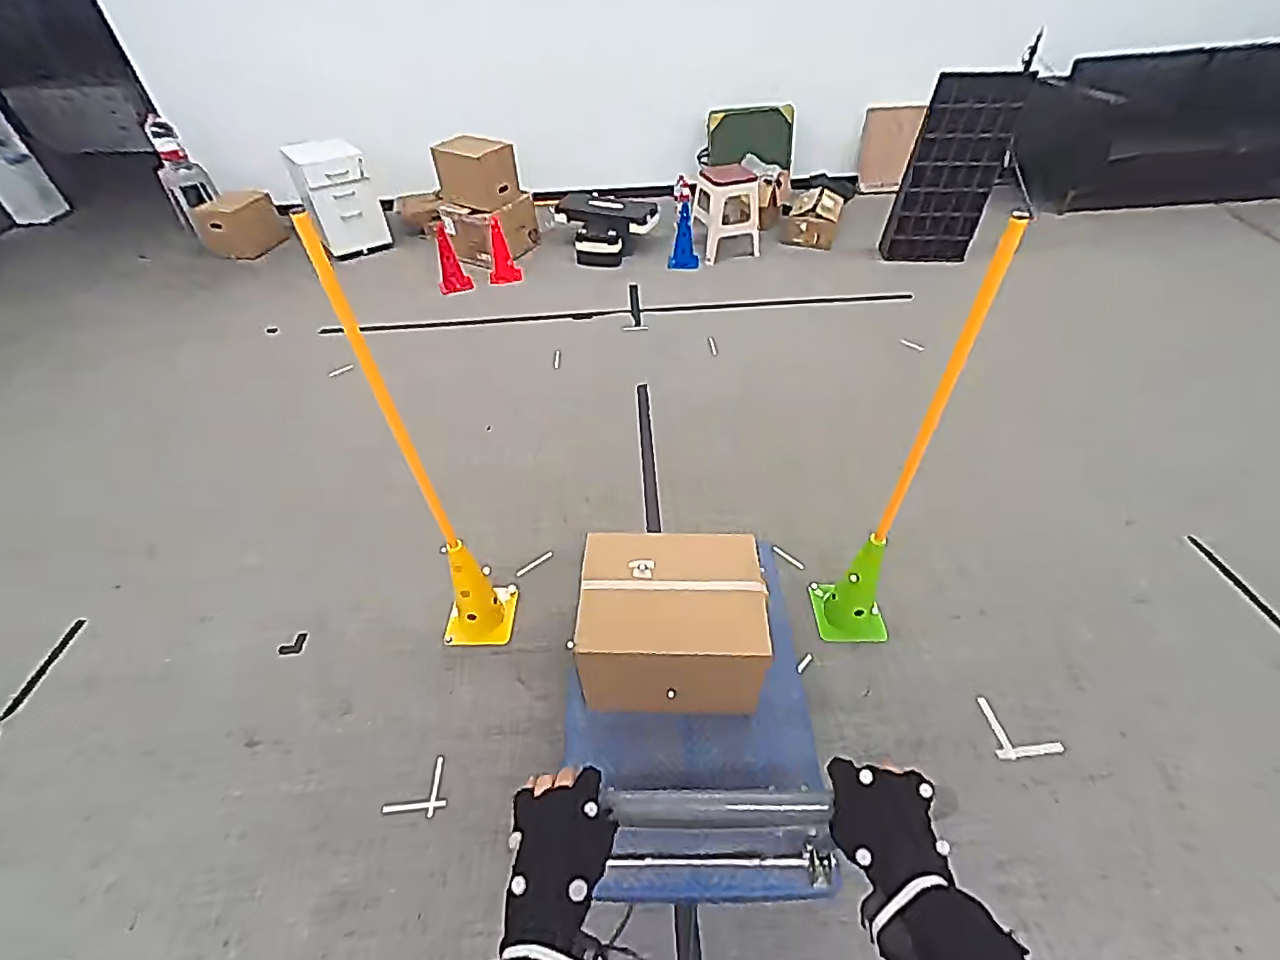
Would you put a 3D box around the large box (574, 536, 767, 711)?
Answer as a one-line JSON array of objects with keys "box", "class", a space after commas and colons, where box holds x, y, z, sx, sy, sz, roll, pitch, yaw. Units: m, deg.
[{"box": [0.072, 0.352, 1.312, 0.408, 0.320, 0.320, 0, 45, 3], "class": "large box"}]

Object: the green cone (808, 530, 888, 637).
[{"box": [0.636, 0.278, 1.563, 0.202, 0.368, 0.200, 0, 45, 1], "class": "green cone"}]
